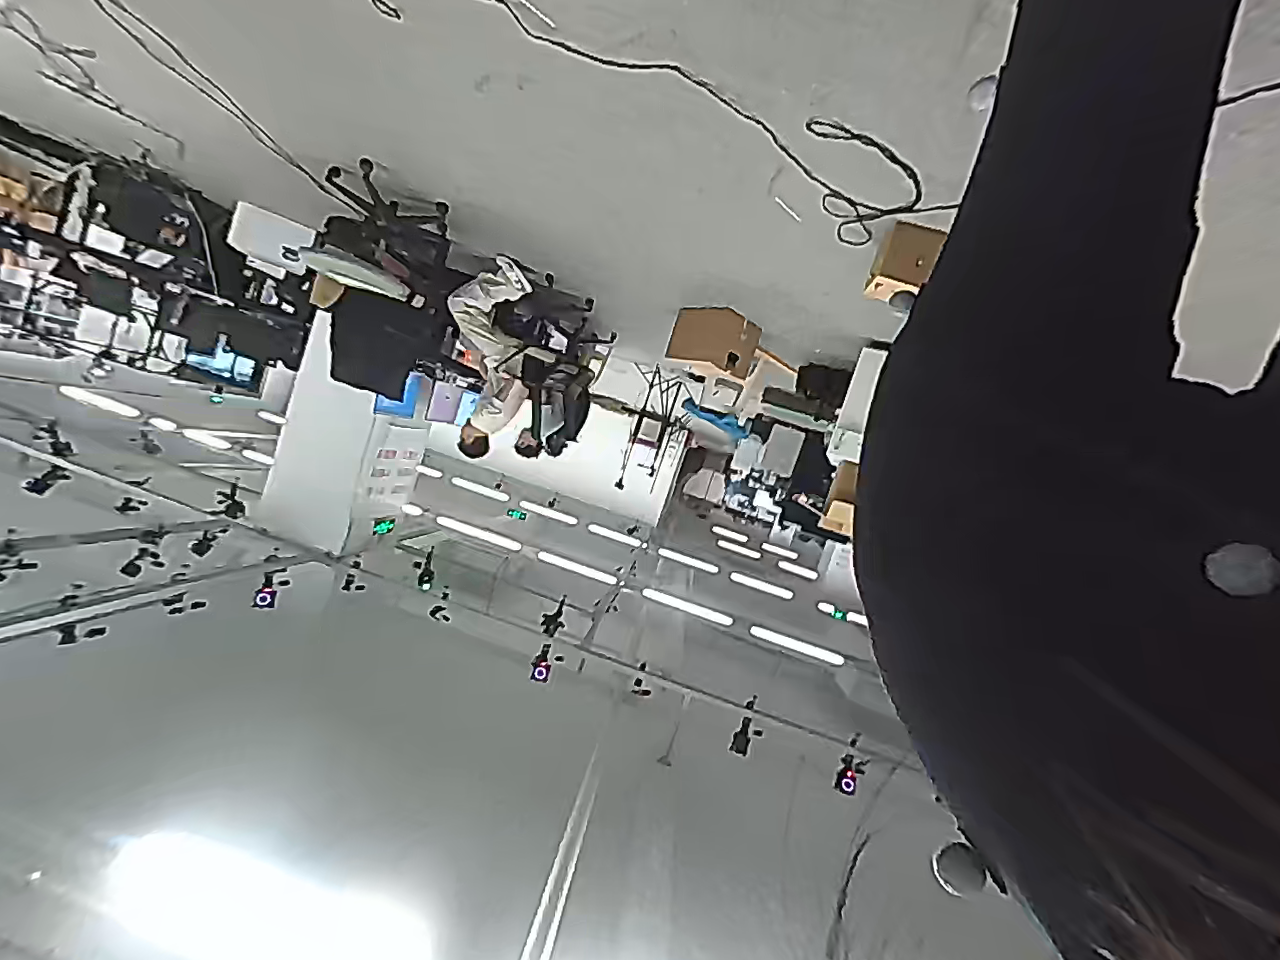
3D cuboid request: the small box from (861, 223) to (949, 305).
[{"bbox_3d":[0.814,-0.664,1.664,0.179,0.176,0.168,17,-178,7],"label":"small box"}]
